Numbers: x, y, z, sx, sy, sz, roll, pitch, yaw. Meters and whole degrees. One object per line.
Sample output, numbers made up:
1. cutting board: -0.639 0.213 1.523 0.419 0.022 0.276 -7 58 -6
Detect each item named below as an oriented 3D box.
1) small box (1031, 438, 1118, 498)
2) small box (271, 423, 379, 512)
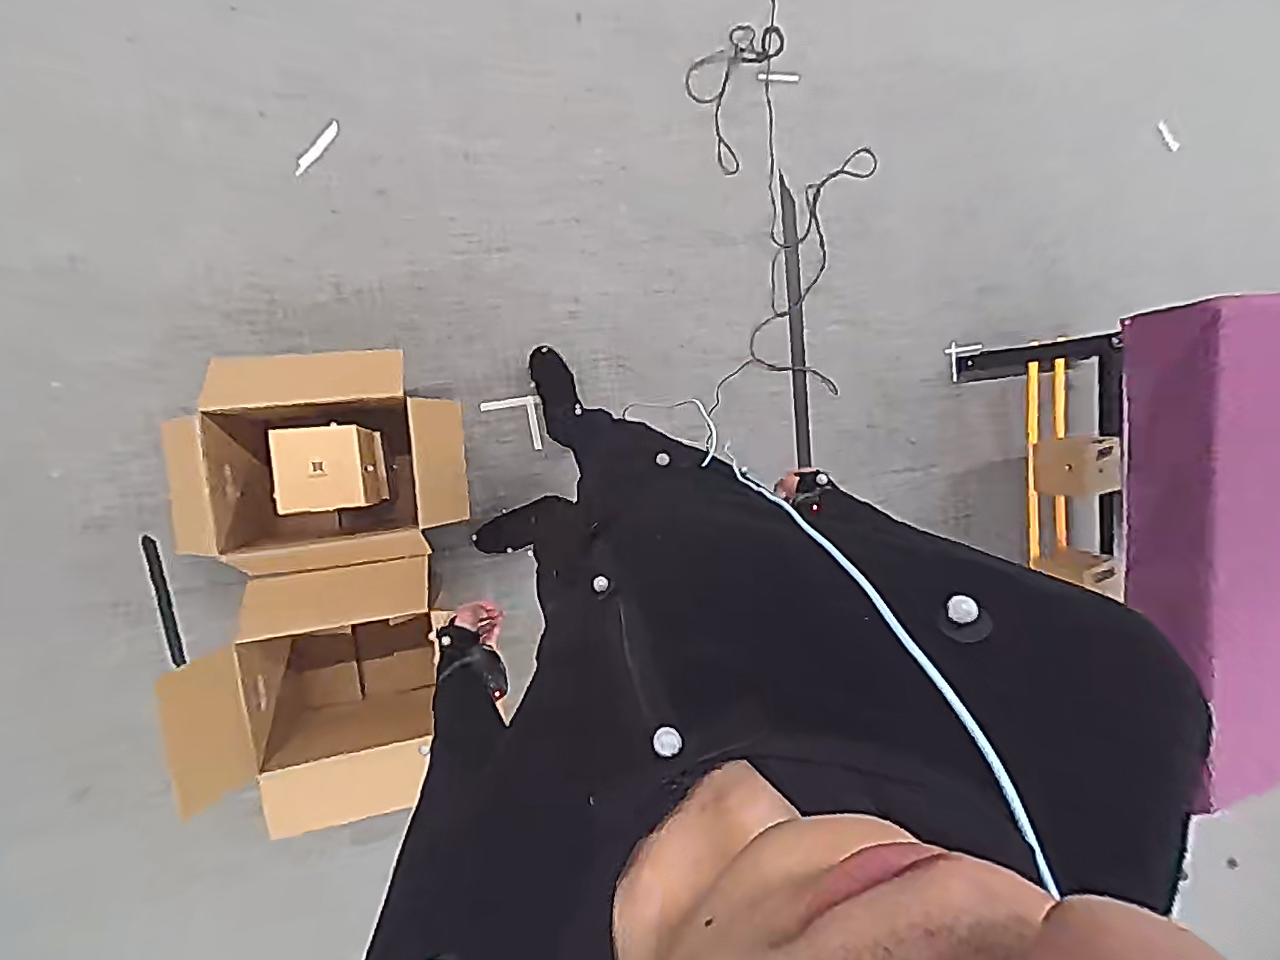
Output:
1. small box: 1.451 -0.047 1.813 0.168 0.176 0.179 -11 100 -14
2. small box: -0.691 -0.028 1.202 0.168 0.176 0.179 -6 94 -16
